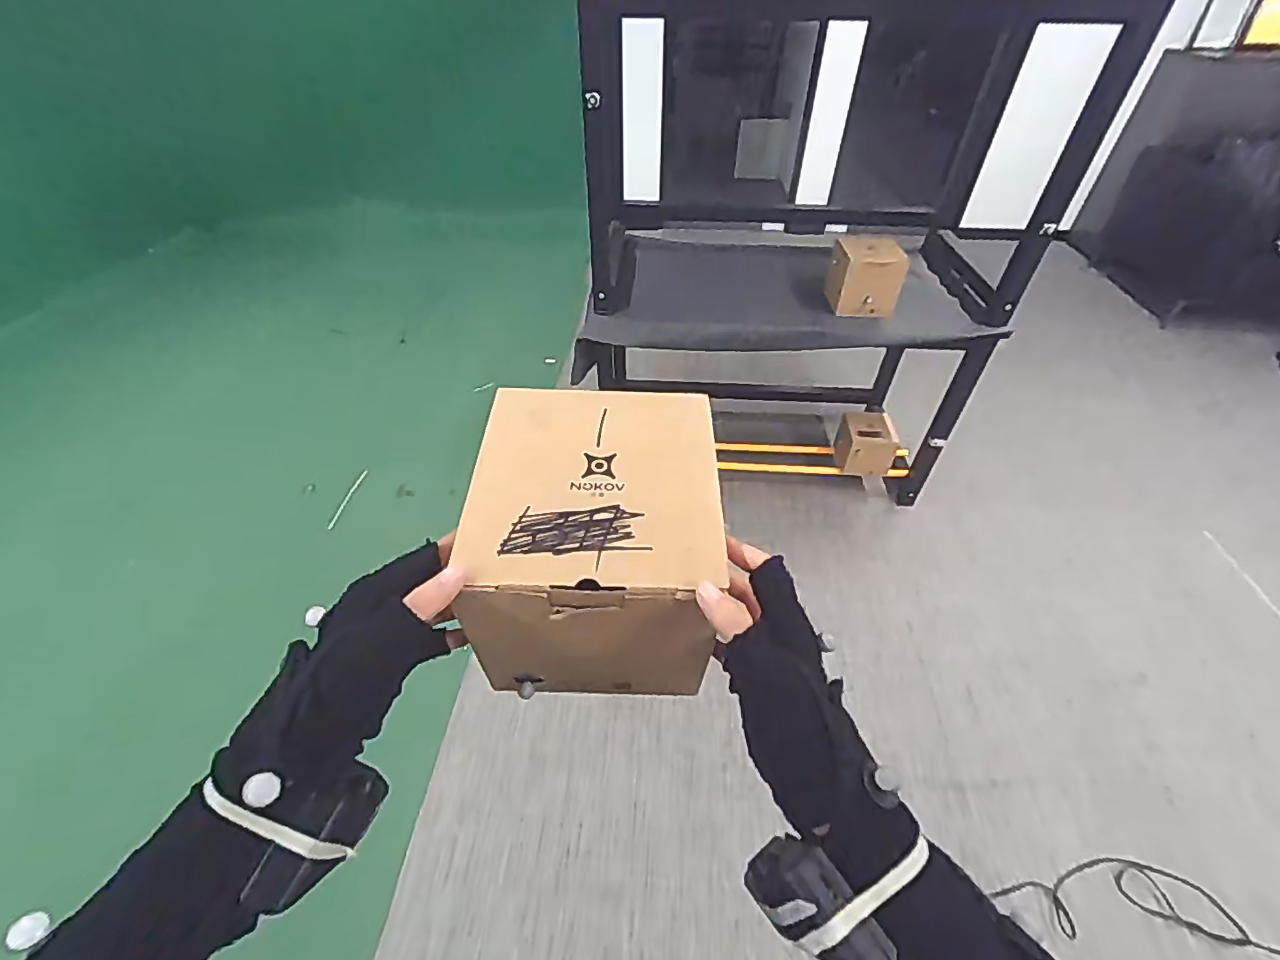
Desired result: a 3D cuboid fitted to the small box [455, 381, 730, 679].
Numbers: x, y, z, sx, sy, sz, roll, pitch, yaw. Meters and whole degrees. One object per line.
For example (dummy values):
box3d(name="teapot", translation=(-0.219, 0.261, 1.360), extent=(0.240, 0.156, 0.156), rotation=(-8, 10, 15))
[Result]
box3d(name="small box", translation=(-0.027, 0.043, 0.427), extent=(0.168, 0.176, 0.179), rotation=(2, 48, -1))

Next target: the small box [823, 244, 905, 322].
box3d(name="small box", translation=(0.656, -0.588, 1.609), extent=(0.168, 0.176, 0.179), rotation=(1, 43, 2))
